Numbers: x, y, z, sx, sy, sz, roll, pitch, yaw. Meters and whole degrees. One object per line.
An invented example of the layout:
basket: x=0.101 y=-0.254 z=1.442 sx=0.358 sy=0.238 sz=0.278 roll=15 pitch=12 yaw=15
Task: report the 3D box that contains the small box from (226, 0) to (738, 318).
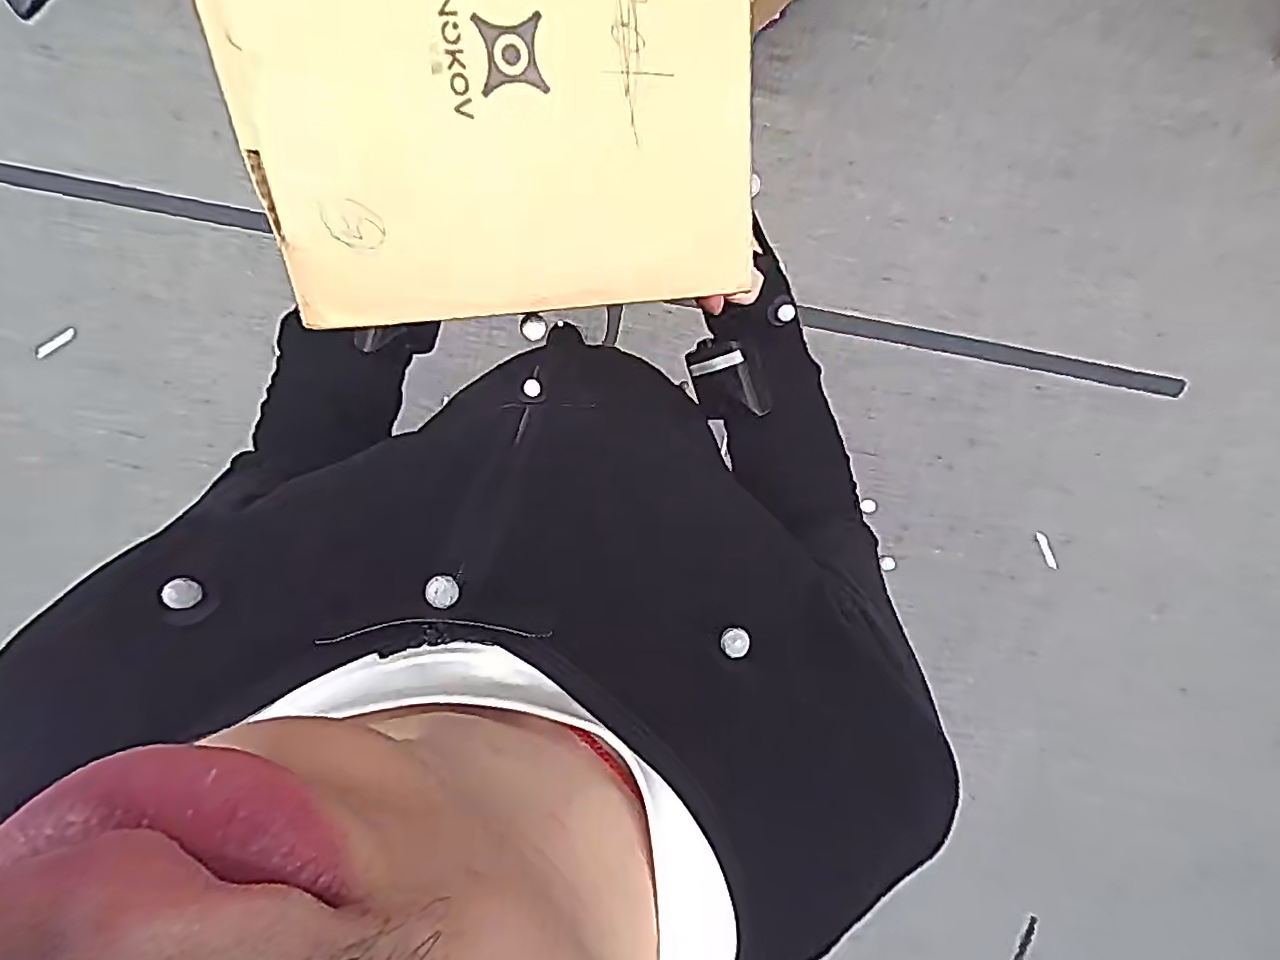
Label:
small box: x=-0.060 y=-0.175 z=0.268 sx=0.179 sy=0.176 sz=0.168 roll=-7 pitch=112 yaw=-6
